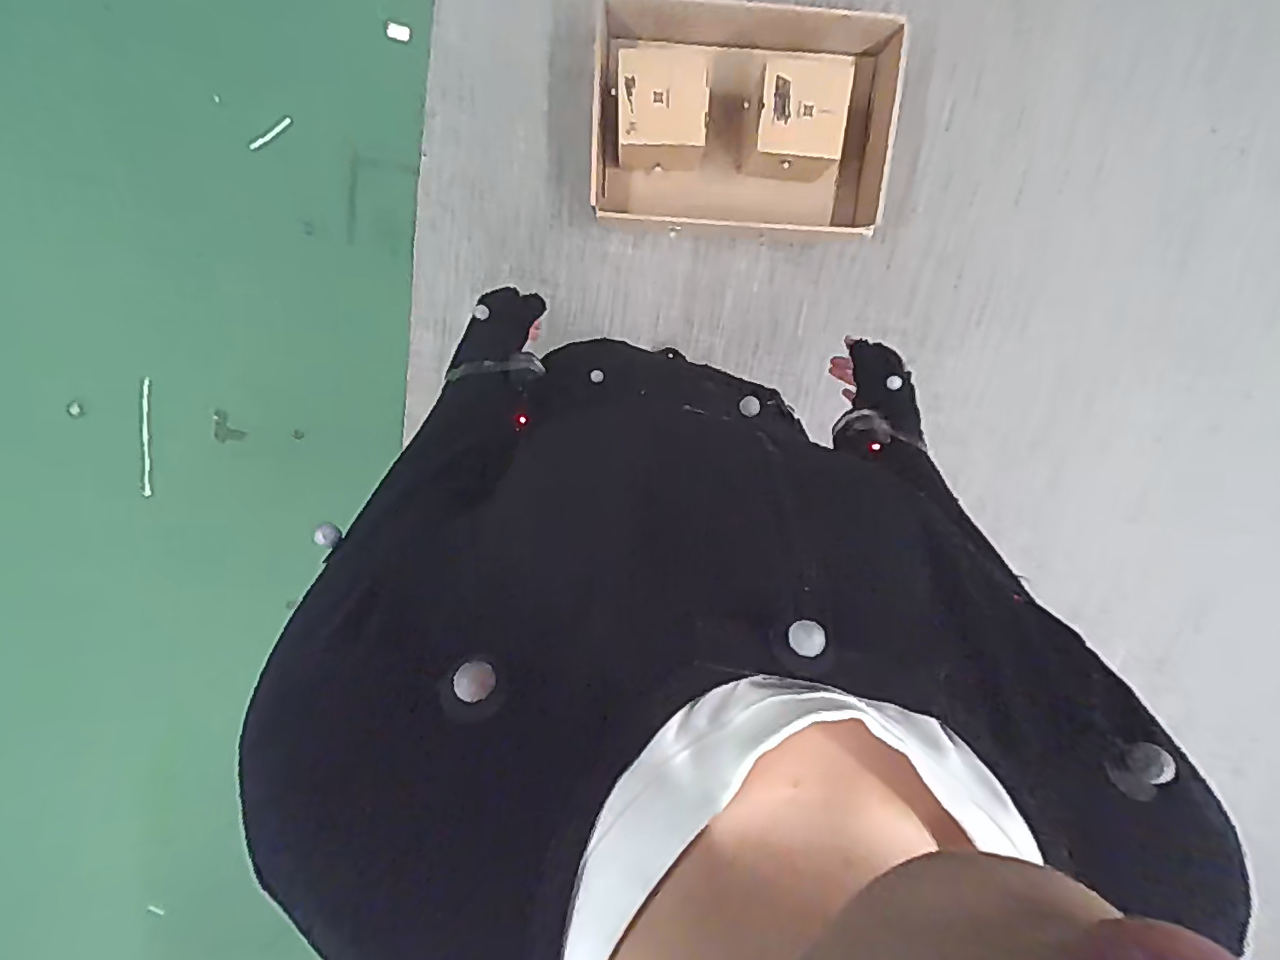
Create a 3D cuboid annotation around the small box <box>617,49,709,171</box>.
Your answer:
[{"bbox_3d":[0.042,-0.768,1.140,0.179,0.176,0.168,0,104,-3],"label":"small box"}]

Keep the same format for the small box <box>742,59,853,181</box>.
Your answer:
[{"bbox_3d":[0.323,-0.754,1.149,0.179,0.176,0.168,5,105,-2],"label":"small box"}]
